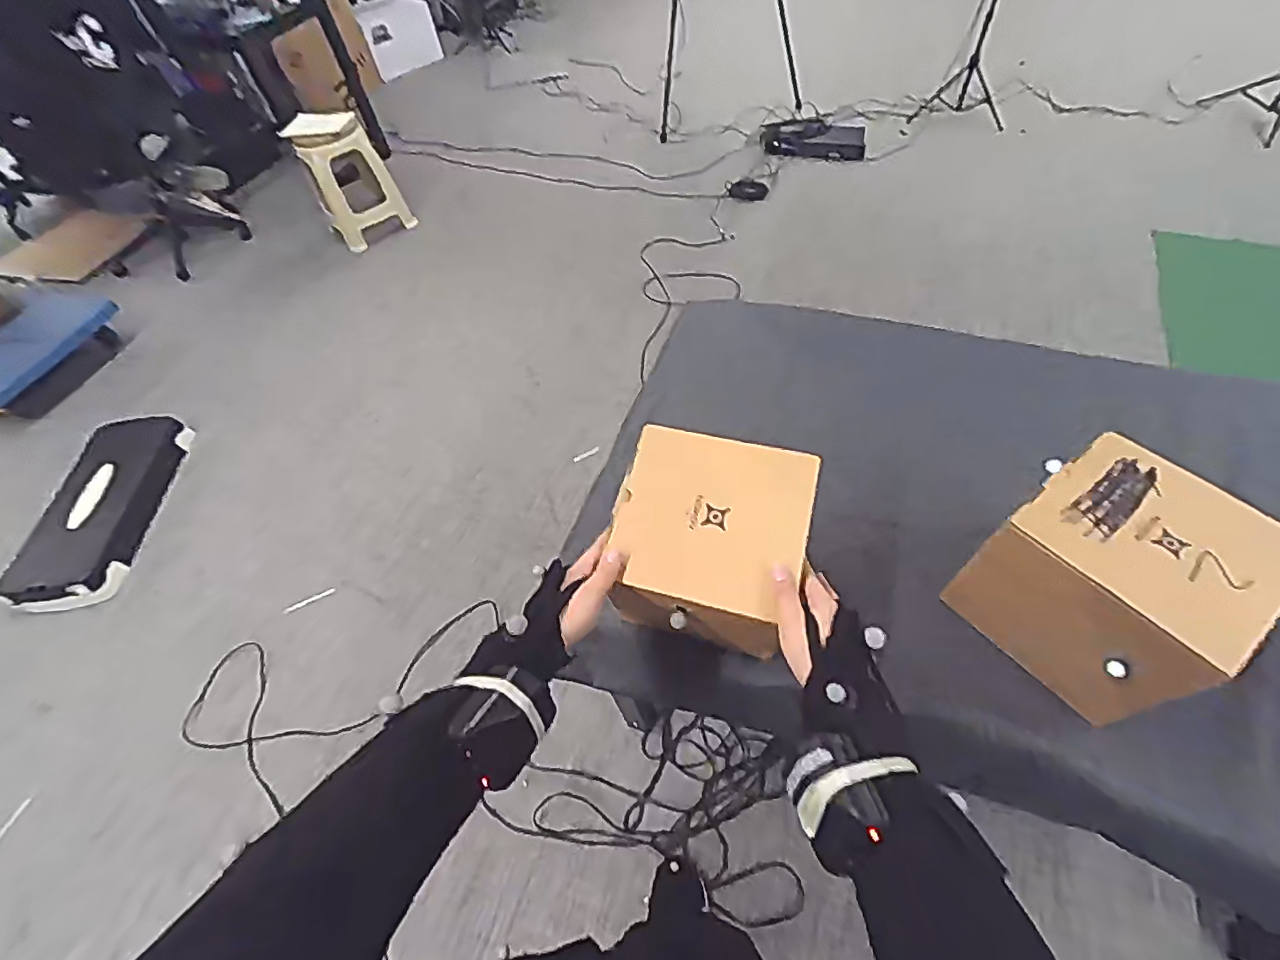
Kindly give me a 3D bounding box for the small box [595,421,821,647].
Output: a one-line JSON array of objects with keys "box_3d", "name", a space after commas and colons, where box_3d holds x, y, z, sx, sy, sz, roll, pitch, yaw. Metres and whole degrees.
[{"box_3d": [0.075, 0.063, 0.560, 0.179, 0.176, 0.168, 11, 65, 14], "name": "small box"}]
